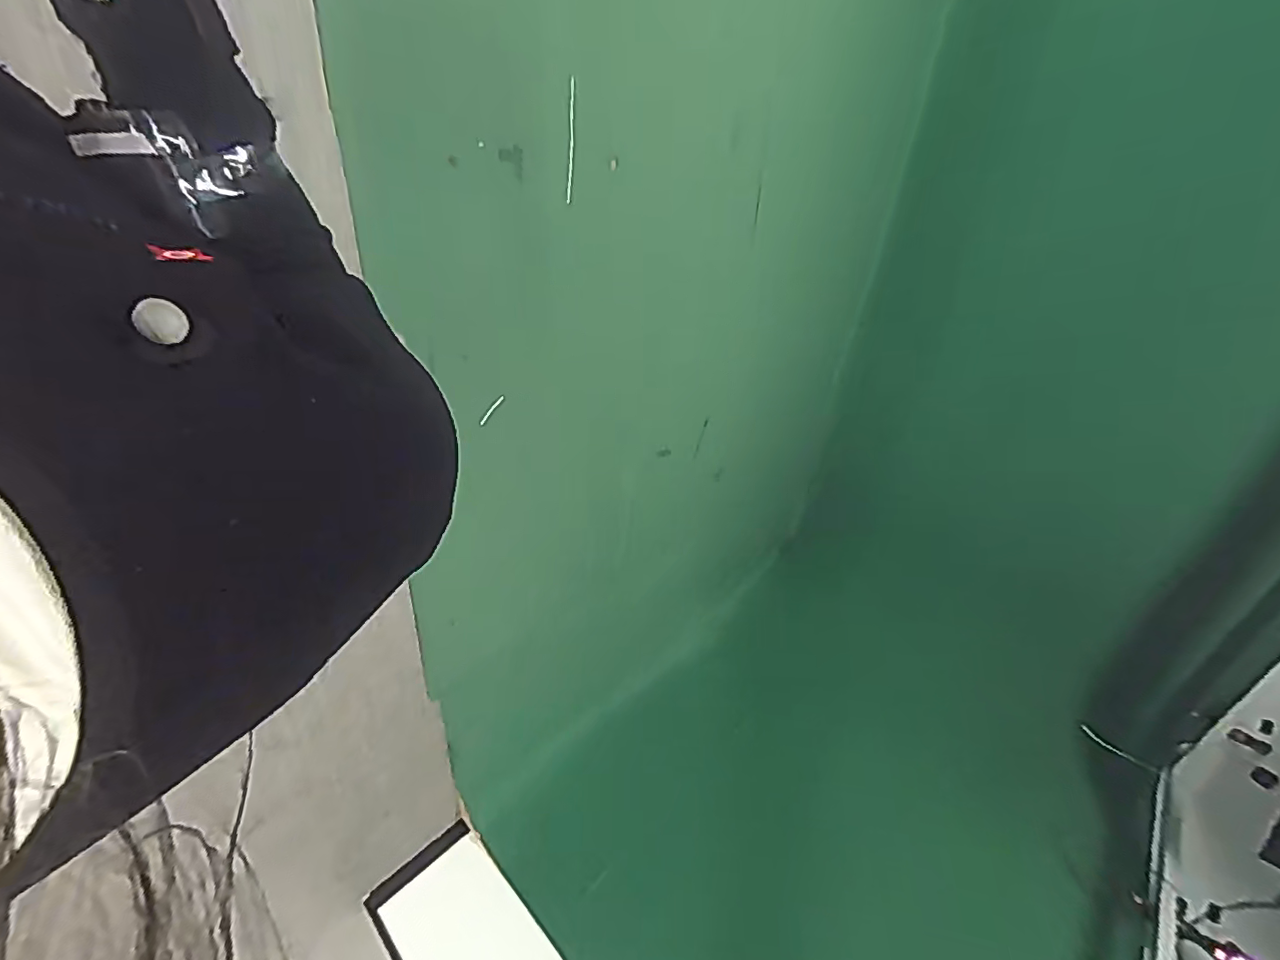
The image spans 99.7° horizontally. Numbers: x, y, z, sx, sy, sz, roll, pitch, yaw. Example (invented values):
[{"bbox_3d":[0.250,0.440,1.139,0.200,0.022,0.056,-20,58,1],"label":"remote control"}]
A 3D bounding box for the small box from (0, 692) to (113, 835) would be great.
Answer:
[{"bbox_3d":[-1.308,0.608,1.178,0.179,0.176,0.168,-26,134,-42],"label":"small box"}]
